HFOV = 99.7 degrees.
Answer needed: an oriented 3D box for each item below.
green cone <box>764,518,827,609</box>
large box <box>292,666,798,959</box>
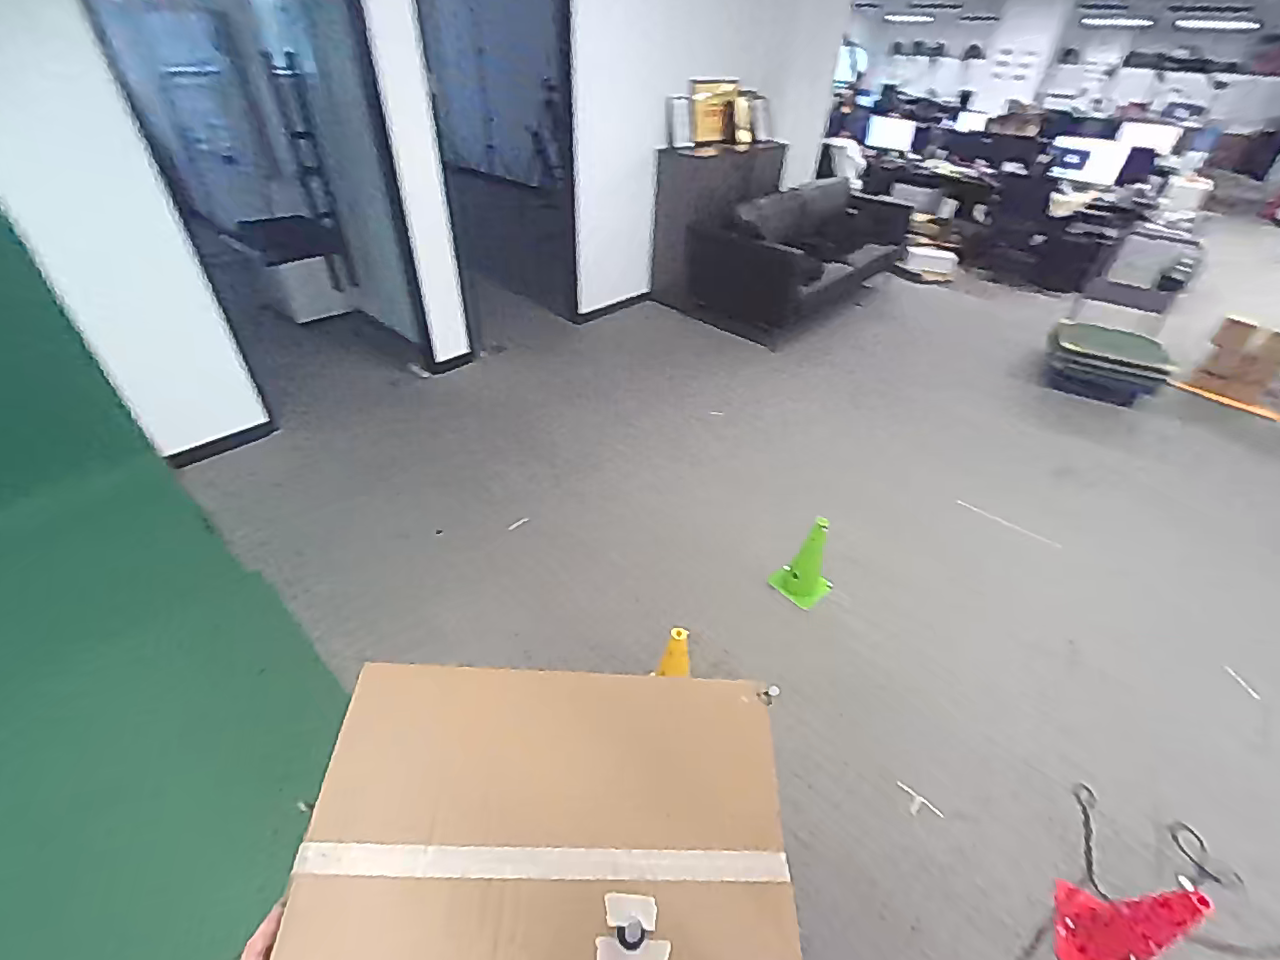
[{"bbox_3d":[0.638,0.287,2.094,0.202,0.368,0.200,-28,48,-32],"label":"green cone"},{"bbox_3d":[-0.084,0.412,0.582,0.408,0.320,0.320,5,54,-4],"label":"large box"}]
